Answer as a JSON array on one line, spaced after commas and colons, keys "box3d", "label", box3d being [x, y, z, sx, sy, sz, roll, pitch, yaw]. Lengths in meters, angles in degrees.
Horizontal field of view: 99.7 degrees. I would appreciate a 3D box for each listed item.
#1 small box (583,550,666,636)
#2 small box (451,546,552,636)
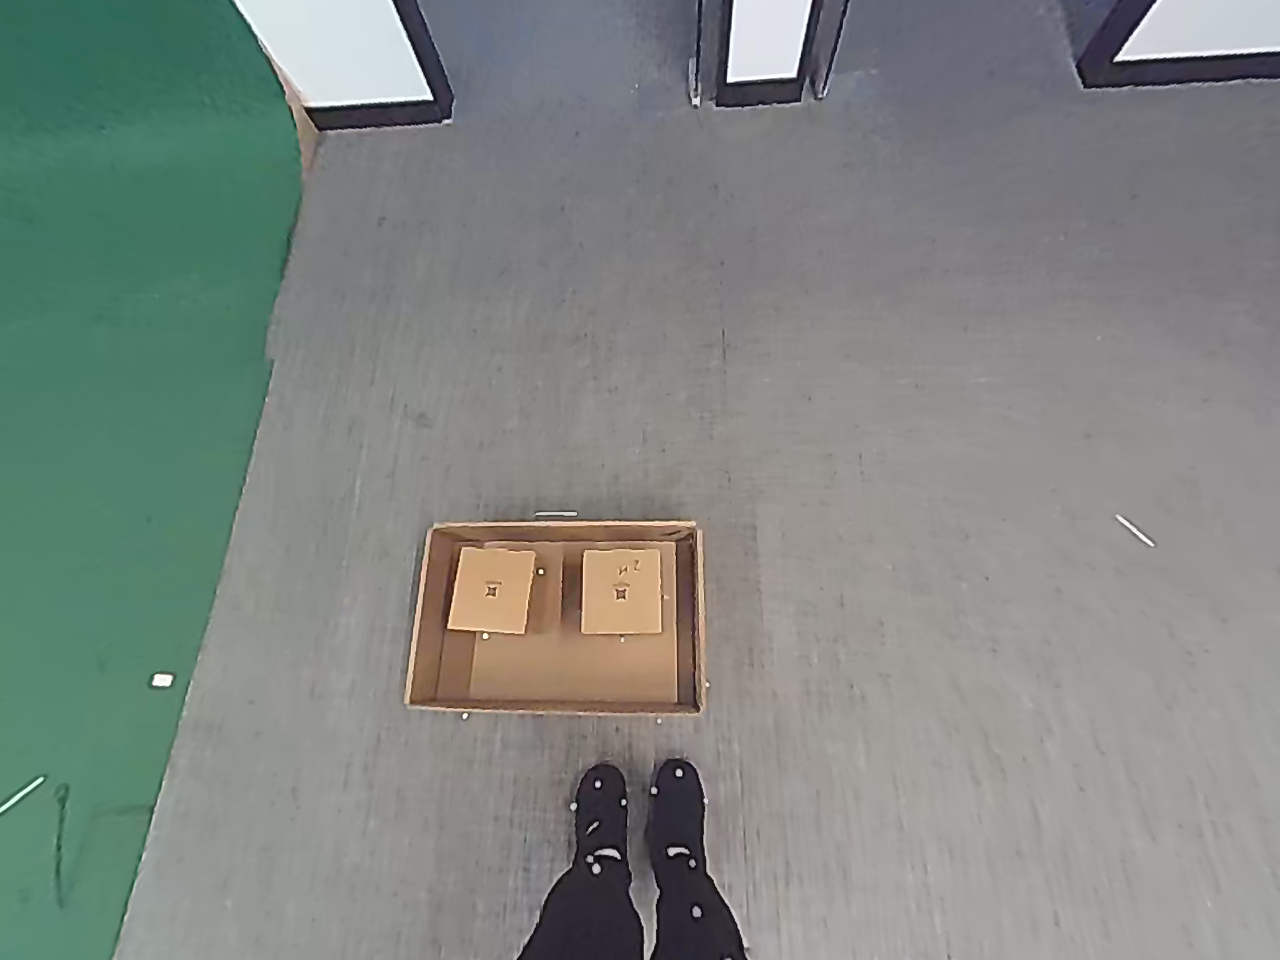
[{"box3d": [-0.028, 0.254, 1.196, 0.168, 0.176, 0.179, -1, 72, 3], "label": "small box"}, {"box3d": [-0.301, 0.256, 1.217, 0.168, 0.176, 0.179, 3, 72, 4], "label": "small box"}]
